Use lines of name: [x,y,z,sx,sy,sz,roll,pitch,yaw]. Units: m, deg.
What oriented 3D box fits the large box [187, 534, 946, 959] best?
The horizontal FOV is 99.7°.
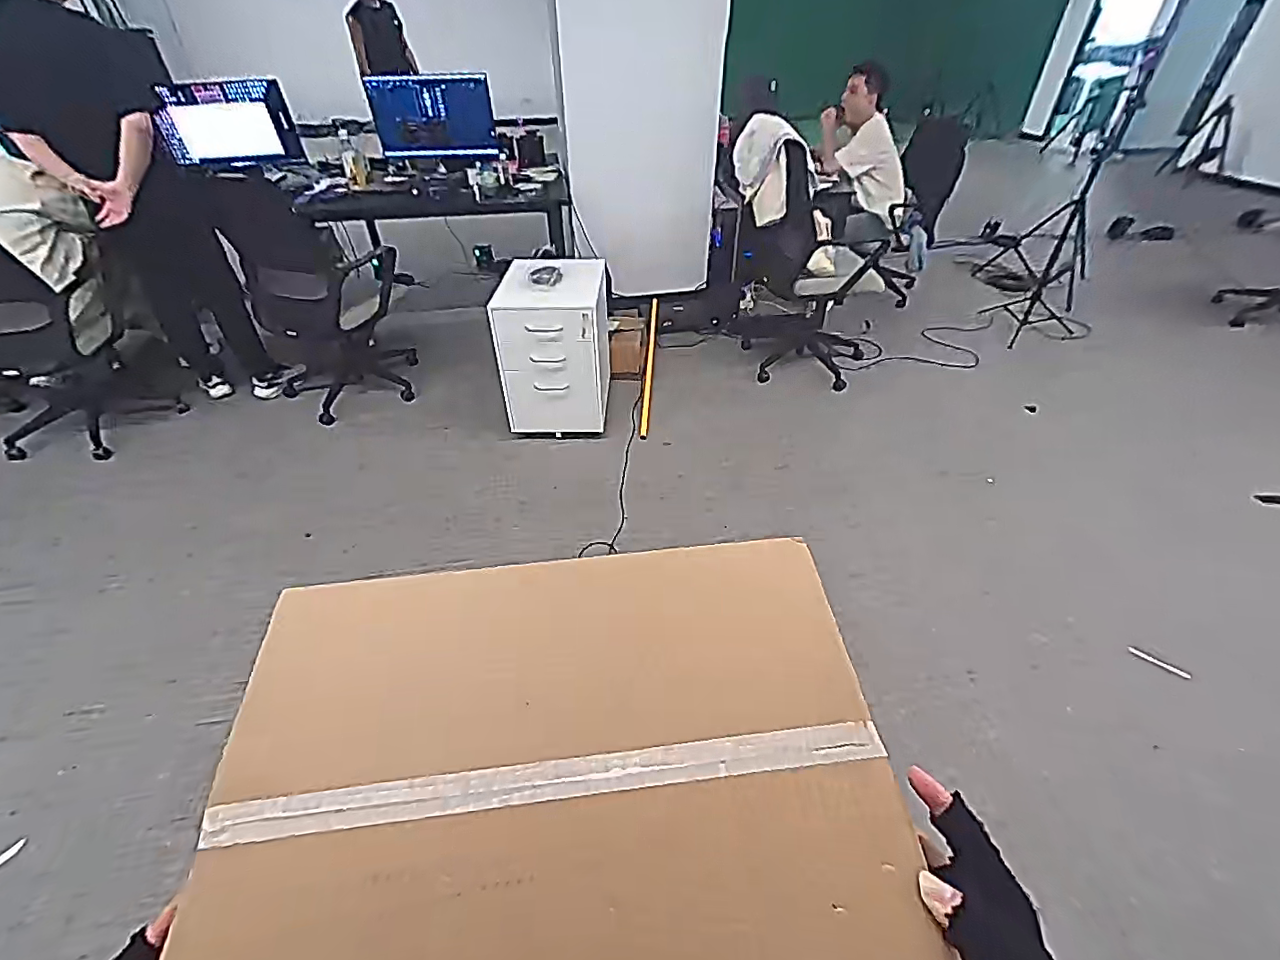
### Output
large box: [-0.051,0.276,0.458,0.408,0.320,0.320,-5,52,-4]
